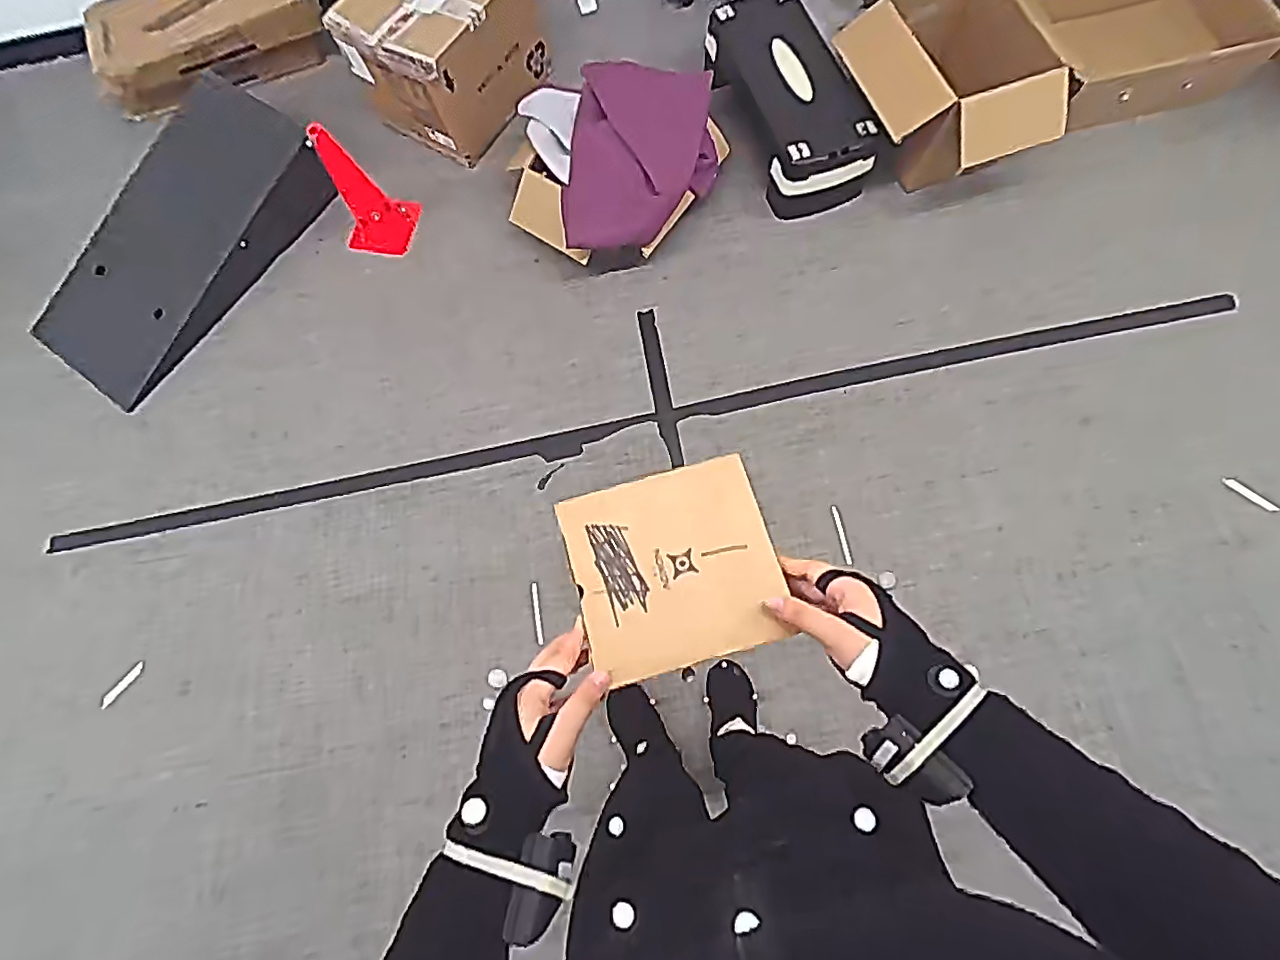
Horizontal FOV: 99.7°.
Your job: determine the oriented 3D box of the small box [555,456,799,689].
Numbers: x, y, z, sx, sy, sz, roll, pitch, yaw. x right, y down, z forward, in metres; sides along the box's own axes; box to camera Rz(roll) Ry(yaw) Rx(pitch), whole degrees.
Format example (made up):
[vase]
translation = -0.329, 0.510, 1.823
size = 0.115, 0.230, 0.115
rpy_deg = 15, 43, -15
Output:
[small box]
translation = 0.031, 0.100, 0.531
size = 0.179, 0.176, 0.168
rpy_deg = -15, 71, -2
